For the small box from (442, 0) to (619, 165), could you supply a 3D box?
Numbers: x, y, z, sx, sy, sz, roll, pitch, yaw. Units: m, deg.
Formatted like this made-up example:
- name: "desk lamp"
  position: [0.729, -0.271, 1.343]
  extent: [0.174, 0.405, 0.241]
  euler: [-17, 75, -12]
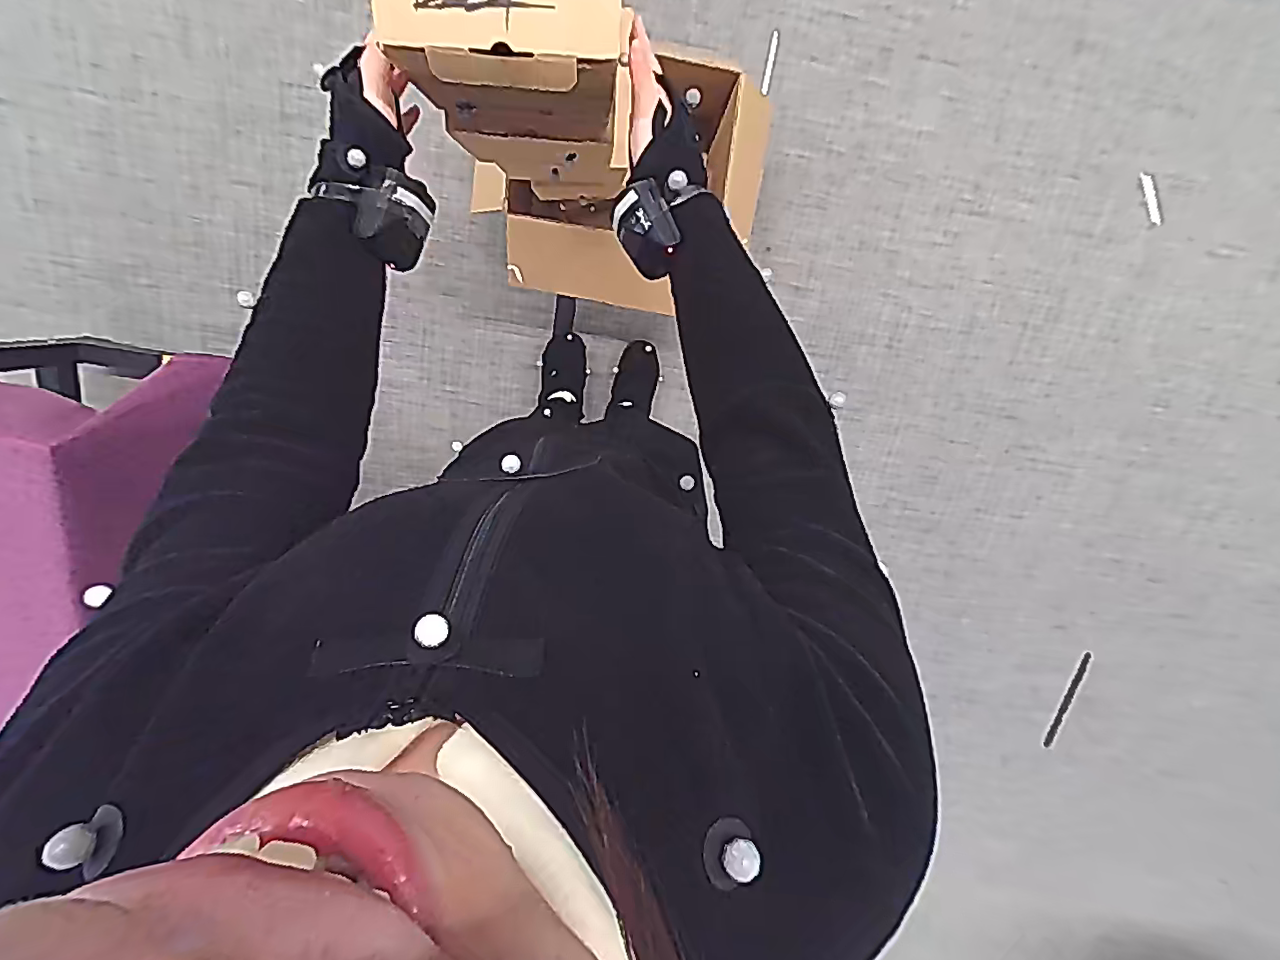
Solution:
- name: "small box"
  position: [-0.108, -0.446, 0.570]
  extent: [0.168, 0.176, 0.179]
  euler: [1, 112, -6]

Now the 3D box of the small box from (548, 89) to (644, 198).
- name: "small box"
  position: [-0.098, -0.646, 1.021]
  extent: [0.179, 0.176, 0.168]
  euler: [-13, 112, -1]

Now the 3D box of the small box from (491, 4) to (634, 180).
- name: "small box"
  position: [-0.104, -0.506, 0.722]
  extent: [0.179, 0.176, 0.168]
  euler: [1, 113, -6]

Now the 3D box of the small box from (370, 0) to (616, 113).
- name: "small box"
  position: [-0.100, -0.402, 0.411]
  extent: [0.168, 0.176, 0.179]
  euler: [0, 112, -6]
